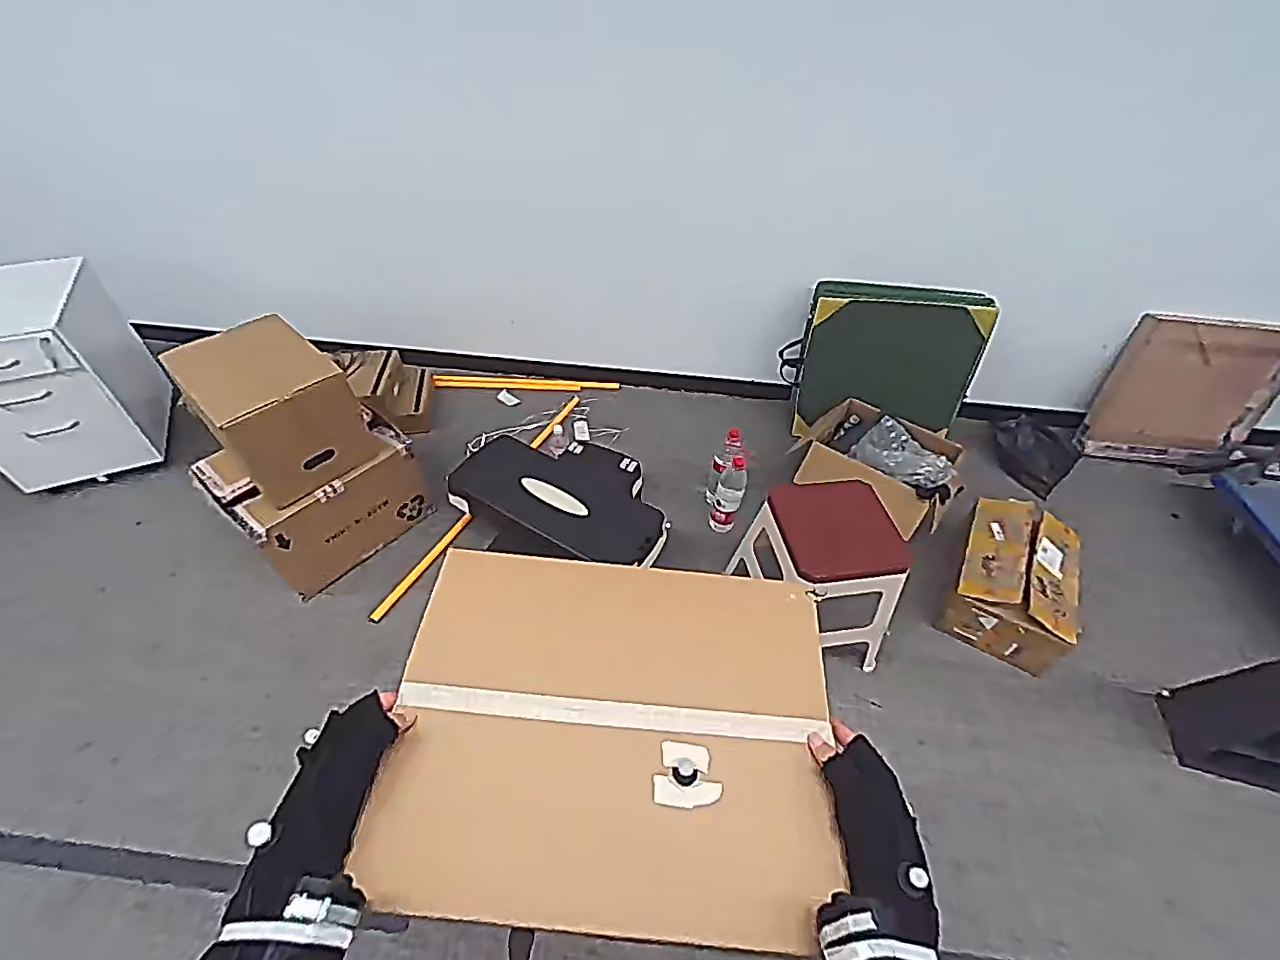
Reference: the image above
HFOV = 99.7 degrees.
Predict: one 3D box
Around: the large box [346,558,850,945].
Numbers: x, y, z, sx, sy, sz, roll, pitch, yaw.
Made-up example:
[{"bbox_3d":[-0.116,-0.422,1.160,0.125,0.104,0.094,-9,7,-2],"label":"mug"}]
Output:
[{"bbox_3d":[-0.033,0.315,0.626,0.408,0.320,0.320,6,52,0],"label":"large box"}]
